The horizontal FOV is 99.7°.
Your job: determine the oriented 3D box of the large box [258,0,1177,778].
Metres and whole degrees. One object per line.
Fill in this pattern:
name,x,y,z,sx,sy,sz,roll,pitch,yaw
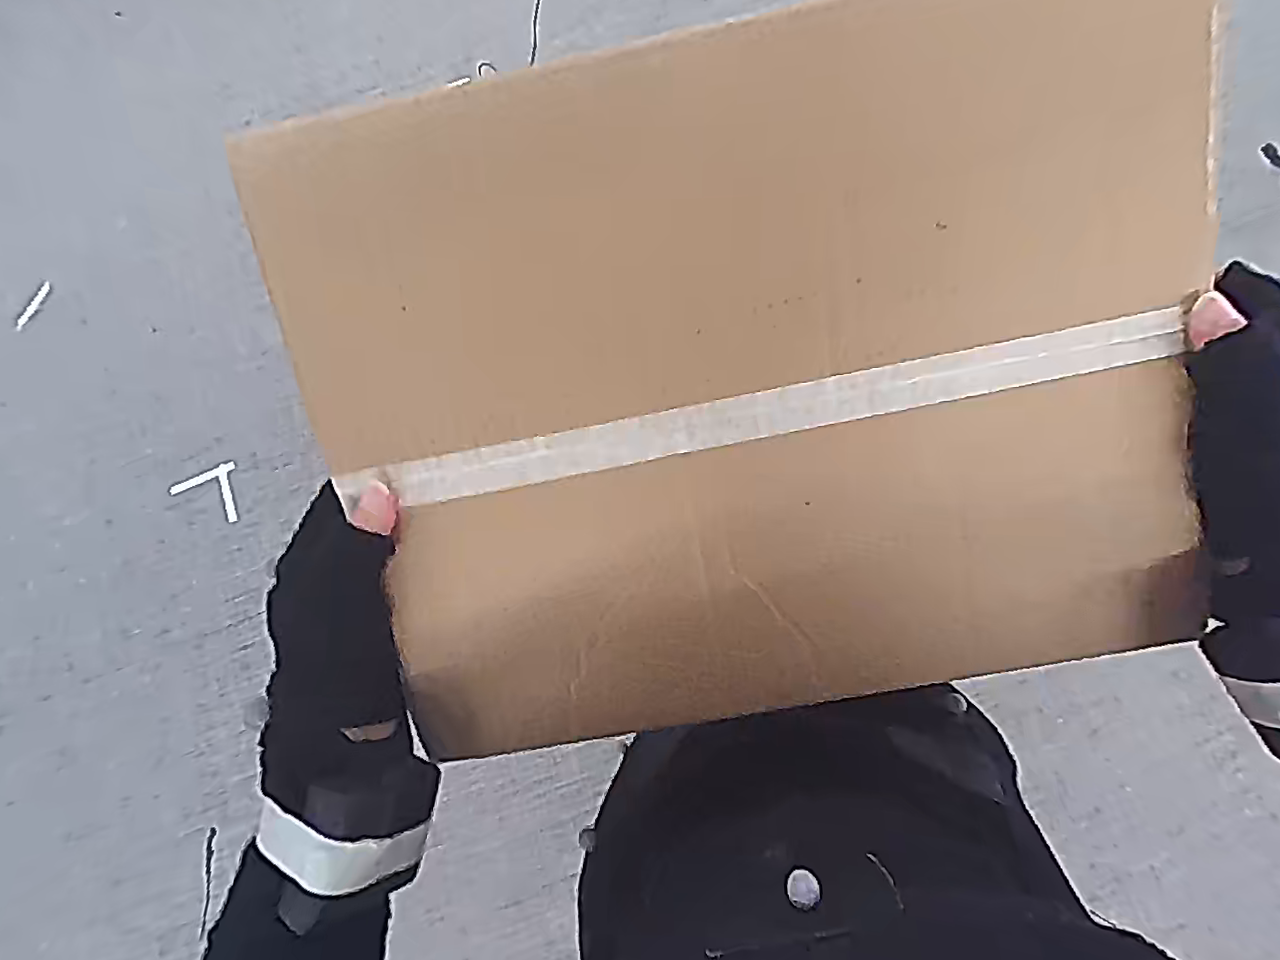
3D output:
large box,0.055,-0.050,0.408,0.408,0.320,0.320,-12,102,3
